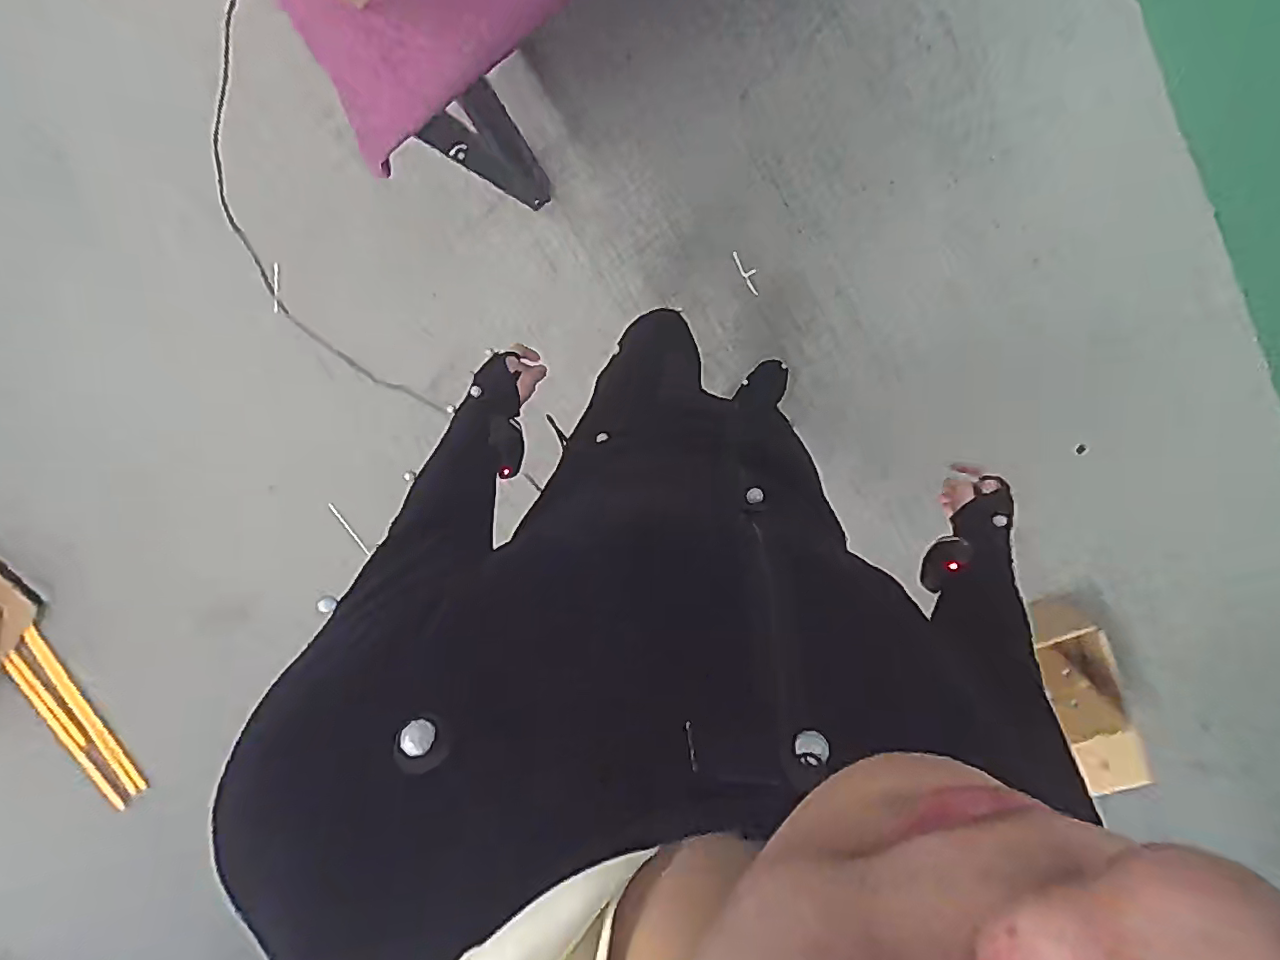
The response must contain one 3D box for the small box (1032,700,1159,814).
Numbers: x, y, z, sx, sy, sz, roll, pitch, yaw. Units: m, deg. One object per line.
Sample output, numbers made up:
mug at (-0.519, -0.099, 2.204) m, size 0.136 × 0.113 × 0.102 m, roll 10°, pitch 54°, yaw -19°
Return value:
small box at (1.144, 0.696, 1.369) m, size 0.168 × 0.176 × 0.179 m, roll -24°, pitch 101°, yaw 15°
